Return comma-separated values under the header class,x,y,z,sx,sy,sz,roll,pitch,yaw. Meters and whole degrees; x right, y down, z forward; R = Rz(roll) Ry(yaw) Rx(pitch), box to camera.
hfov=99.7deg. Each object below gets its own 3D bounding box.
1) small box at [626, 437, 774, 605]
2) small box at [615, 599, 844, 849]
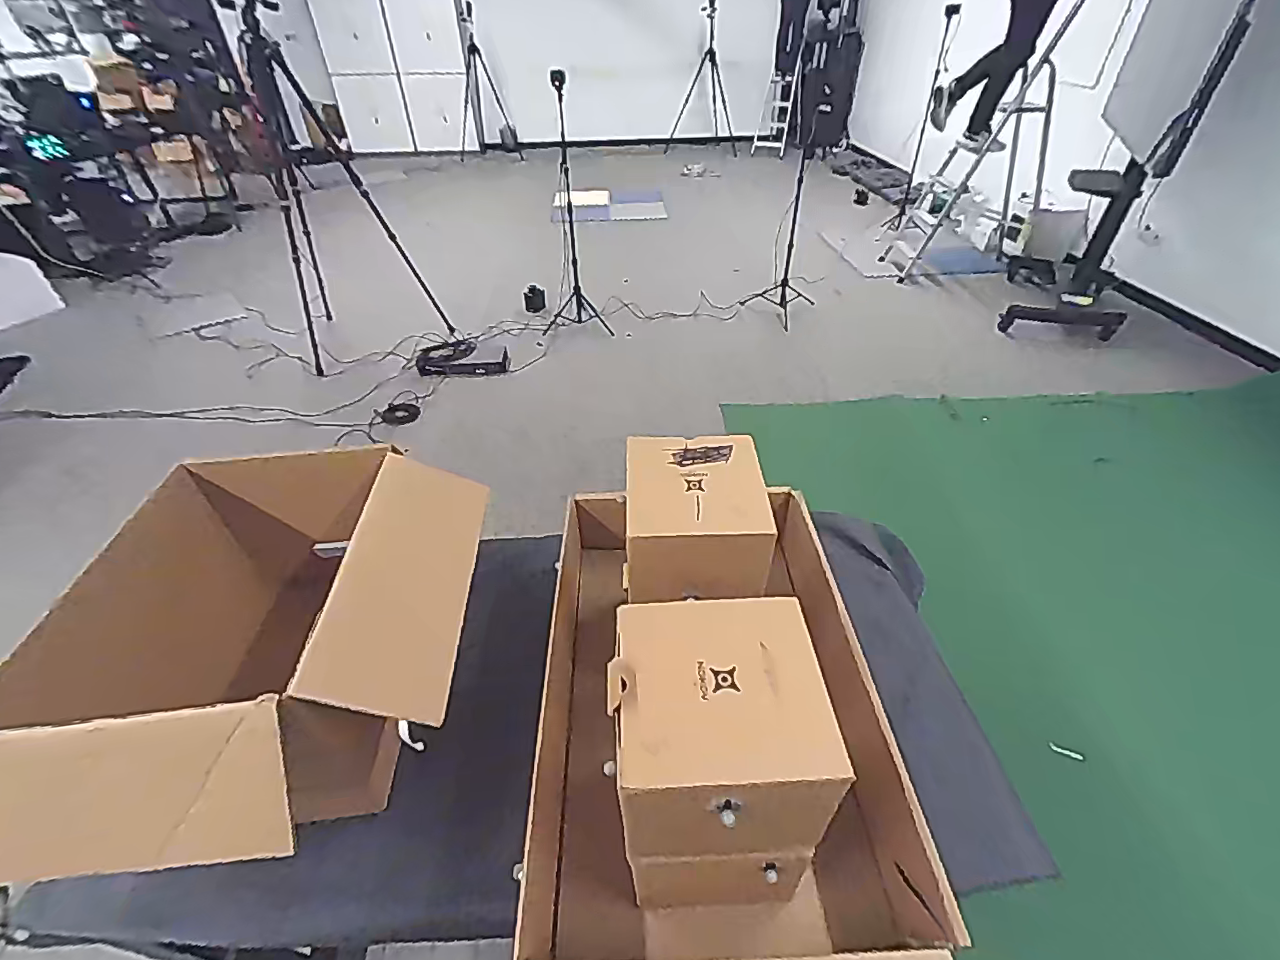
class,x,y,z,sx,sy,sz,roll,pitch,yaw
small box,0.065,0.063,0.705,0.168,0.176,0.179,-1,44,0
small box,0.067,0.233,0.517,0.179,0.176,0.168,-1,42,-2
